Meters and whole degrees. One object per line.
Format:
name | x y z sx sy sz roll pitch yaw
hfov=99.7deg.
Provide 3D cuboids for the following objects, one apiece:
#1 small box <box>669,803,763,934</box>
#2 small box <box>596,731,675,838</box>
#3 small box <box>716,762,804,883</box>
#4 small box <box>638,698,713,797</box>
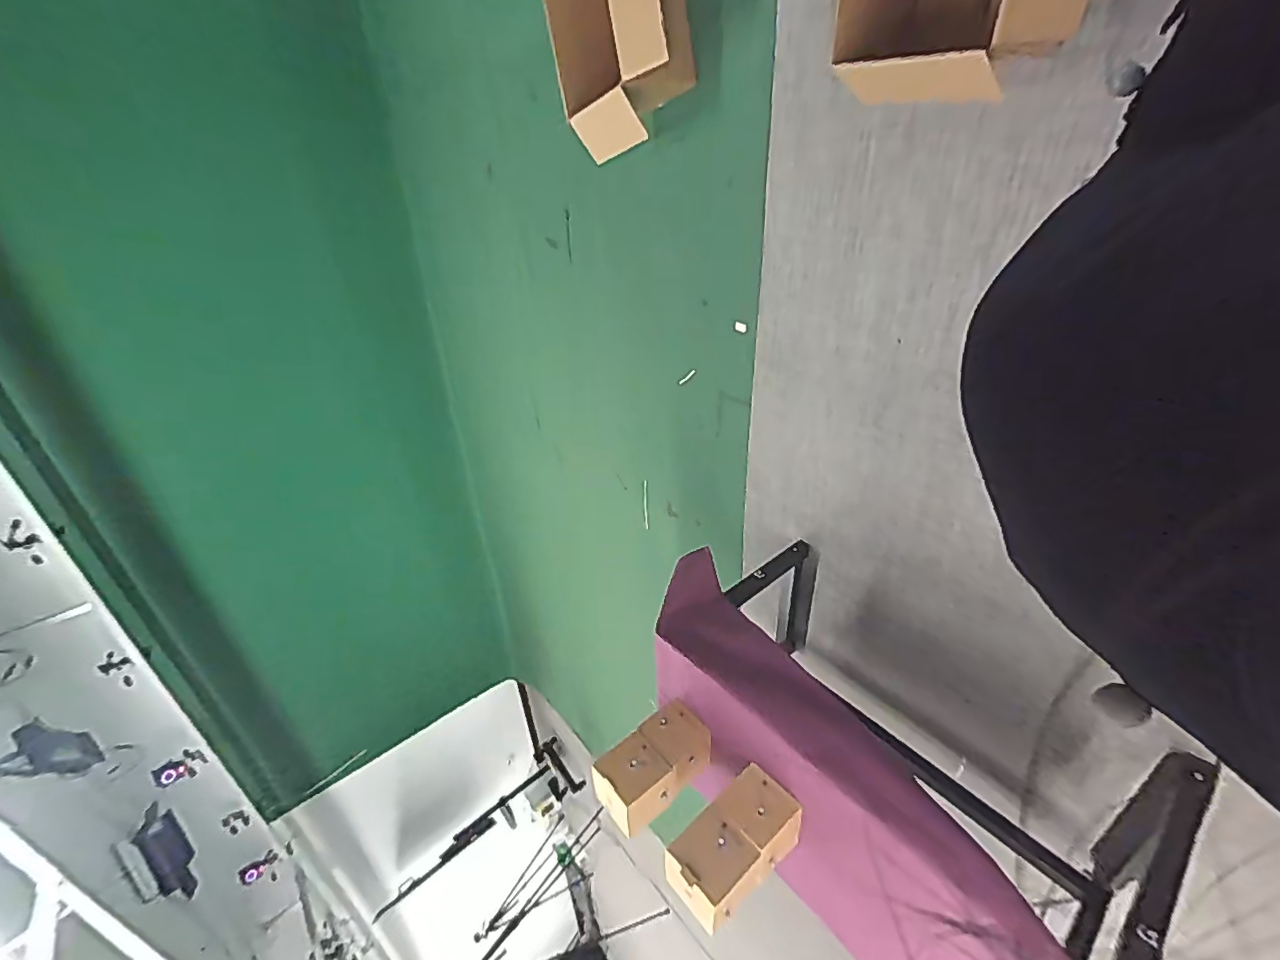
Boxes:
small box | 0.189 0.961 1.348 0.168 0.176 0.179 30 134 41
small box | -0.010 0.876 1.572 0.168 0.176 0.179 31 133 42
small box | 0.316 0.897 1.433 0.168 0.176 0.179 27 133 43
small box | 0.111 0.816 1.665 0.168 0.176 0.179 31 134 41
